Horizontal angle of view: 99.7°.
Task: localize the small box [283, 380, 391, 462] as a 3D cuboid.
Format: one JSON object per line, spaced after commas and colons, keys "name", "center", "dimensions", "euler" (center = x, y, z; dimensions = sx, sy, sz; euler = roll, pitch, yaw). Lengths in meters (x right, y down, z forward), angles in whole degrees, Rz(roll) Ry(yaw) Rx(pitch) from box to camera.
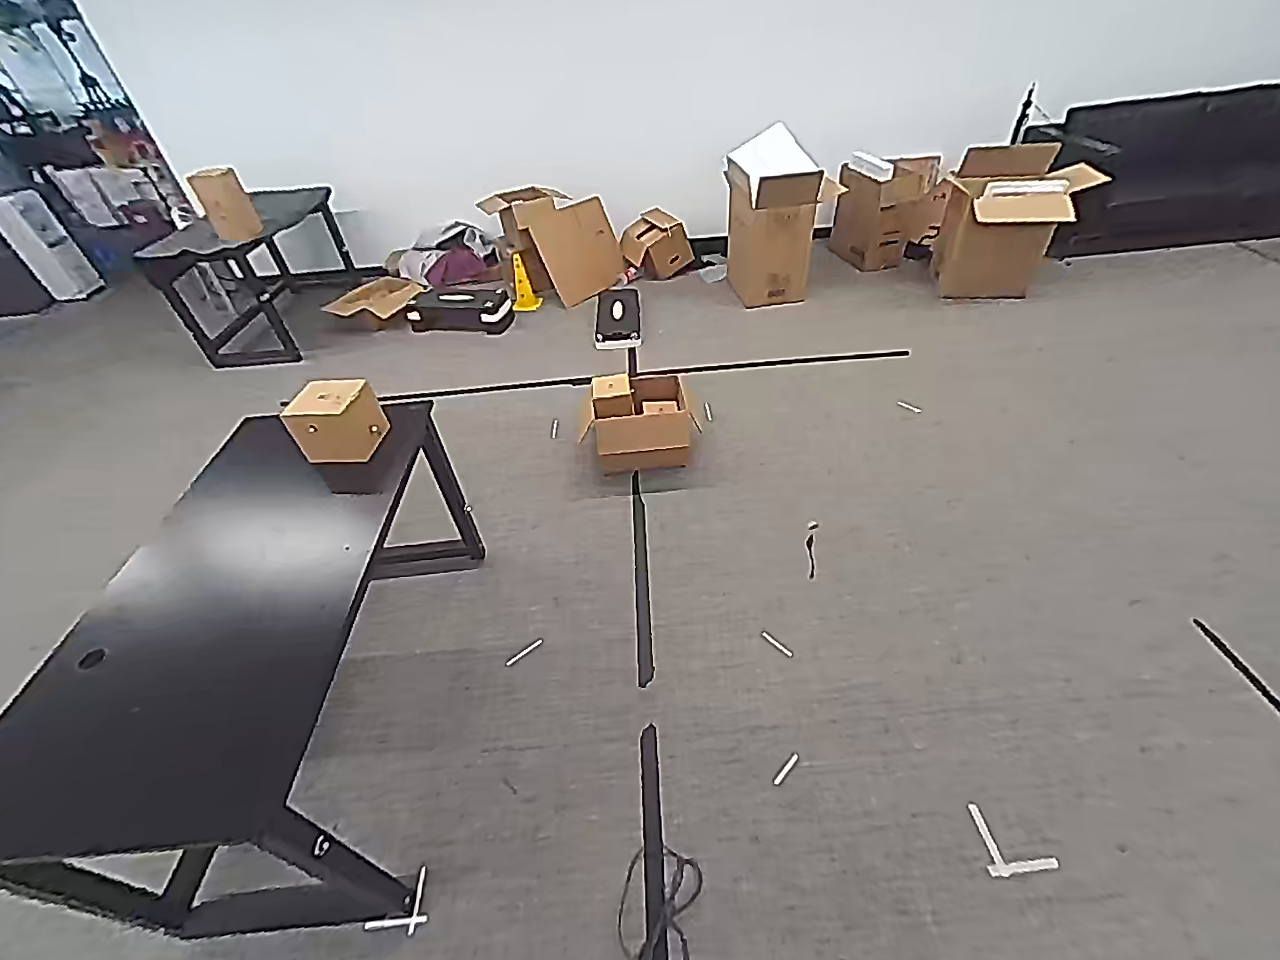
{"name": "small box", "center": [-0.841, -0.163, 1.519], "dimensions": [0.179, 0.176, 0.168], "euler": [0, 44, 6]}
